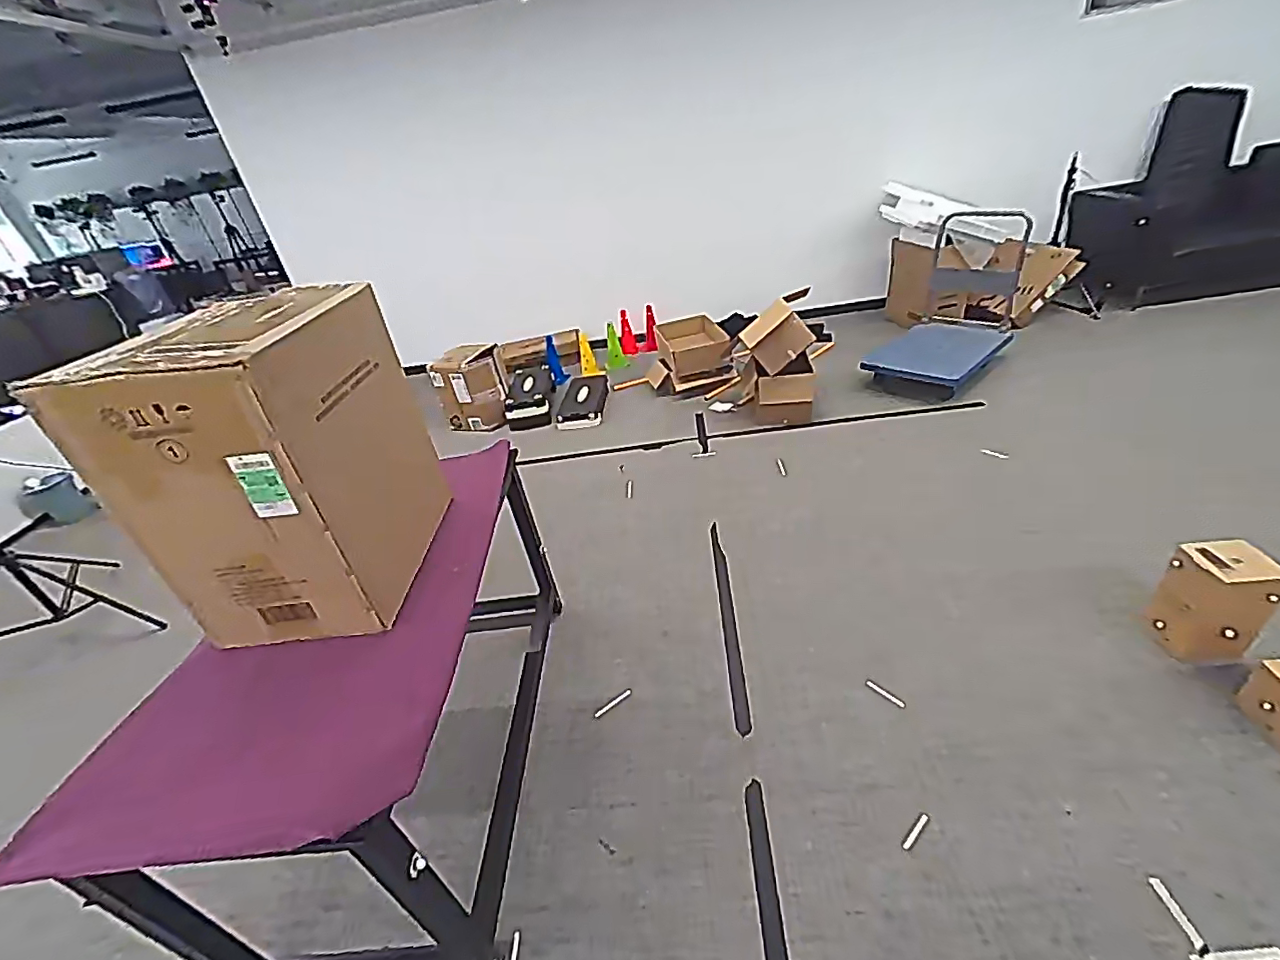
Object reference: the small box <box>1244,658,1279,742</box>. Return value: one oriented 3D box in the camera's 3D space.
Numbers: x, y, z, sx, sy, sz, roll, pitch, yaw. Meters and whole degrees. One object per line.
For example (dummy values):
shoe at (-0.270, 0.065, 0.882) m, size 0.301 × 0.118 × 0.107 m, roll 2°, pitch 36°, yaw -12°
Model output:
small box at (1.723, 0.576, 1.383) m, size 0.179 × 0.176 × 0.168 m, roll -5°, pitch 33°, yaw 8°

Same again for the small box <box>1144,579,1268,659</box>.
small box at (1.702, 0.422, 1.640) m, size 0.179 × 0.176 × 0.168 m, roll -6°, pitch 32°, yaw 8°
